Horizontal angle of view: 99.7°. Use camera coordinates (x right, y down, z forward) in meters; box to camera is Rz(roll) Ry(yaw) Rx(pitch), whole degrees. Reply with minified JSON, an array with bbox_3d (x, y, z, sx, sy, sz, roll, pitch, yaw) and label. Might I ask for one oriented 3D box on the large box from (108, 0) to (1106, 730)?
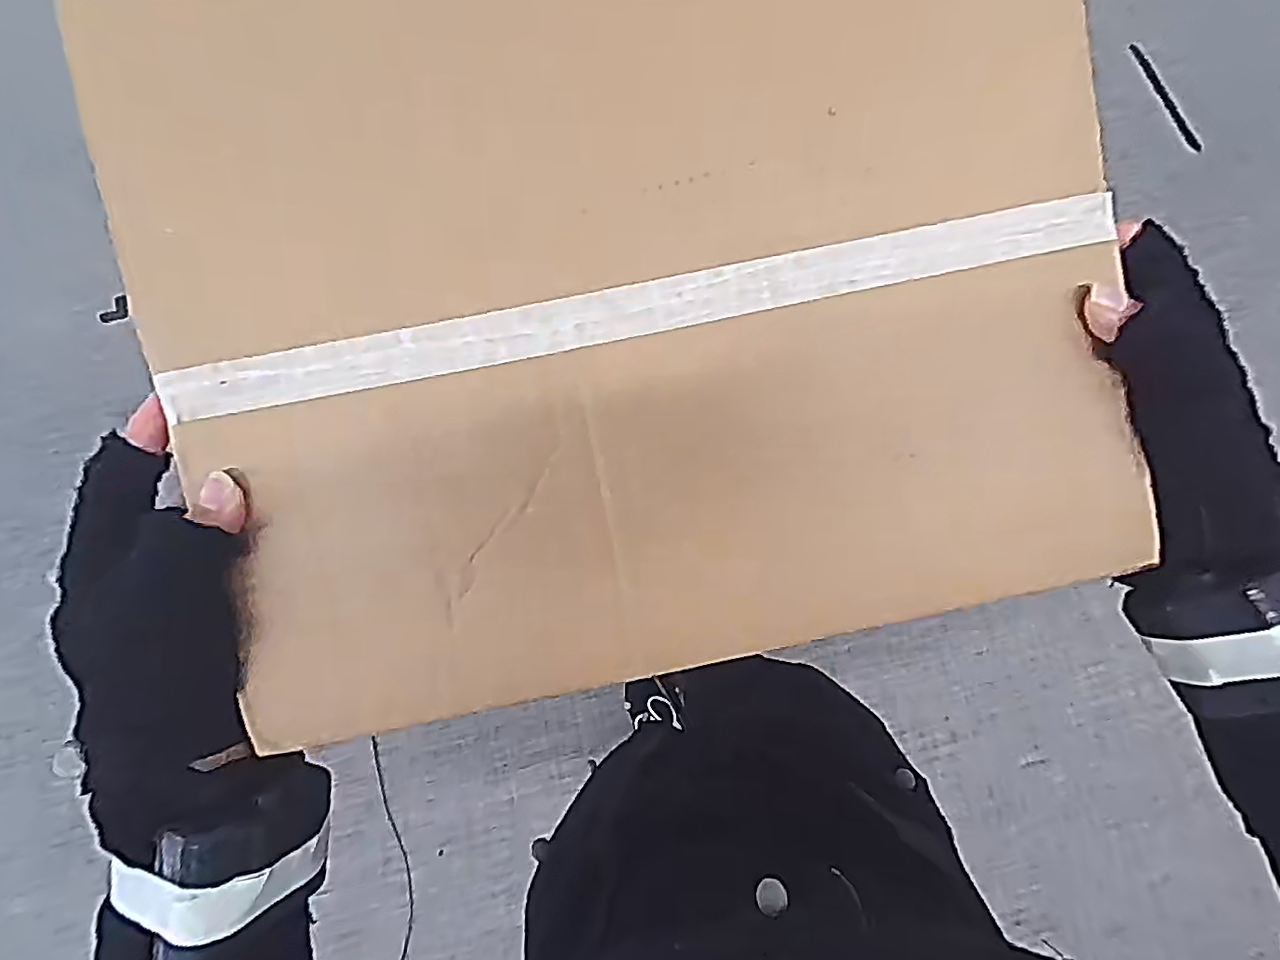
[{"bbox_3d":[-0.003,-0.086,0.389,0.408,0.320,0.320,-11,94,-2],"label":"large box"}]
